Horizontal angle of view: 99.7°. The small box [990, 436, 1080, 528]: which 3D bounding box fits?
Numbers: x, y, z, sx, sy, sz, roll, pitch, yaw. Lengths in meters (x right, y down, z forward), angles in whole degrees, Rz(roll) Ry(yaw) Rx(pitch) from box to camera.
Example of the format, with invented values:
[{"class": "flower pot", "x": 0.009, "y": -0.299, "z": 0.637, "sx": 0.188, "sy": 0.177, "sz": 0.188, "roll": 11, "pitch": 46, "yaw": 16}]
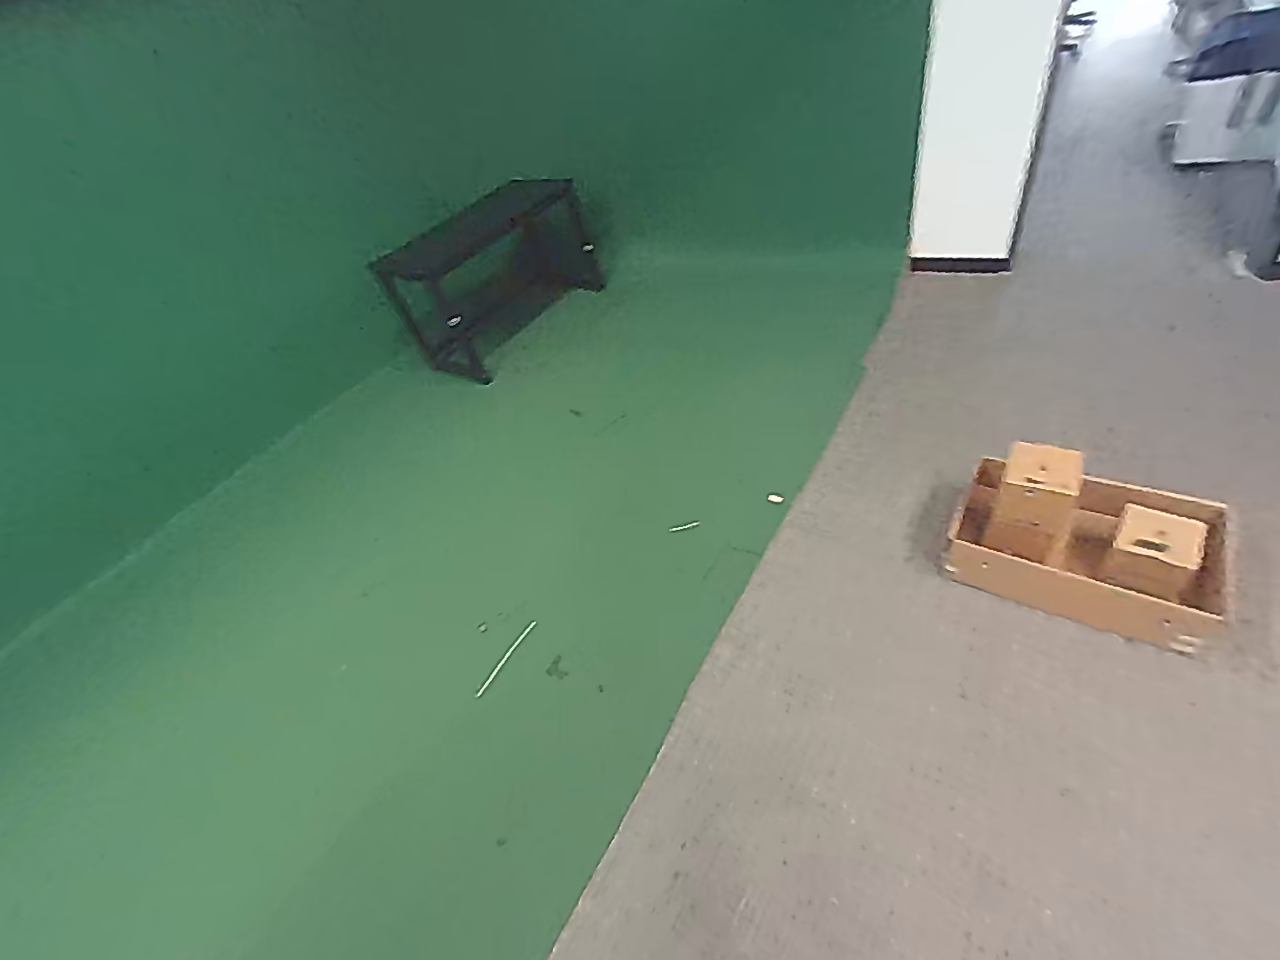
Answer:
[{"class": "small box", "x": 1.126, "y": 0.005, "z": 1.550, "sx": 0.168, "sy": 0.176, "sz": 0.179, "roll": 16, "pitch": 53, "yaw": 31}]
